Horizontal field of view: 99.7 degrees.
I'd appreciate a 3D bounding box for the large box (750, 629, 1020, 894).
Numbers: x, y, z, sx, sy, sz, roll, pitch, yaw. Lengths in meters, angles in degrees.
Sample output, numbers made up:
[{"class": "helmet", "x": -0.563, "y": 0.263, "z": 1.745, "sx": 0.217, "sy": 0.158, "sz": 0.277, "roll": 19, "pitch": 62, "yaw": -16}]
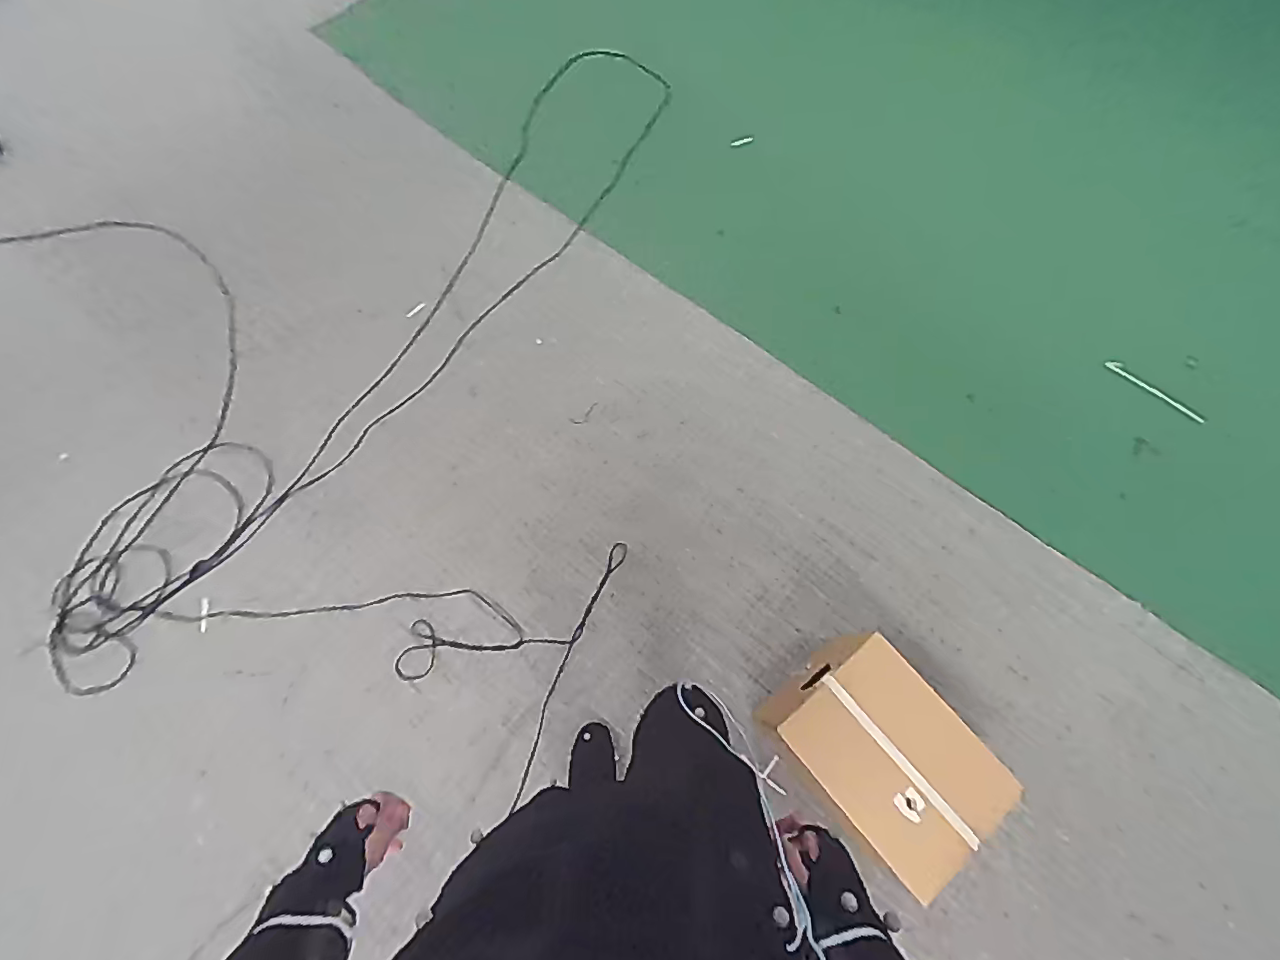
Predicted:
[{"class": "large box", "x": 0.524, "y": 0.604, "z": 1.247, "sx": 0.320, "sy": 0.320, "sz": 0.408, "roll": -39, "pitch": 75, "yaw": -11}]
